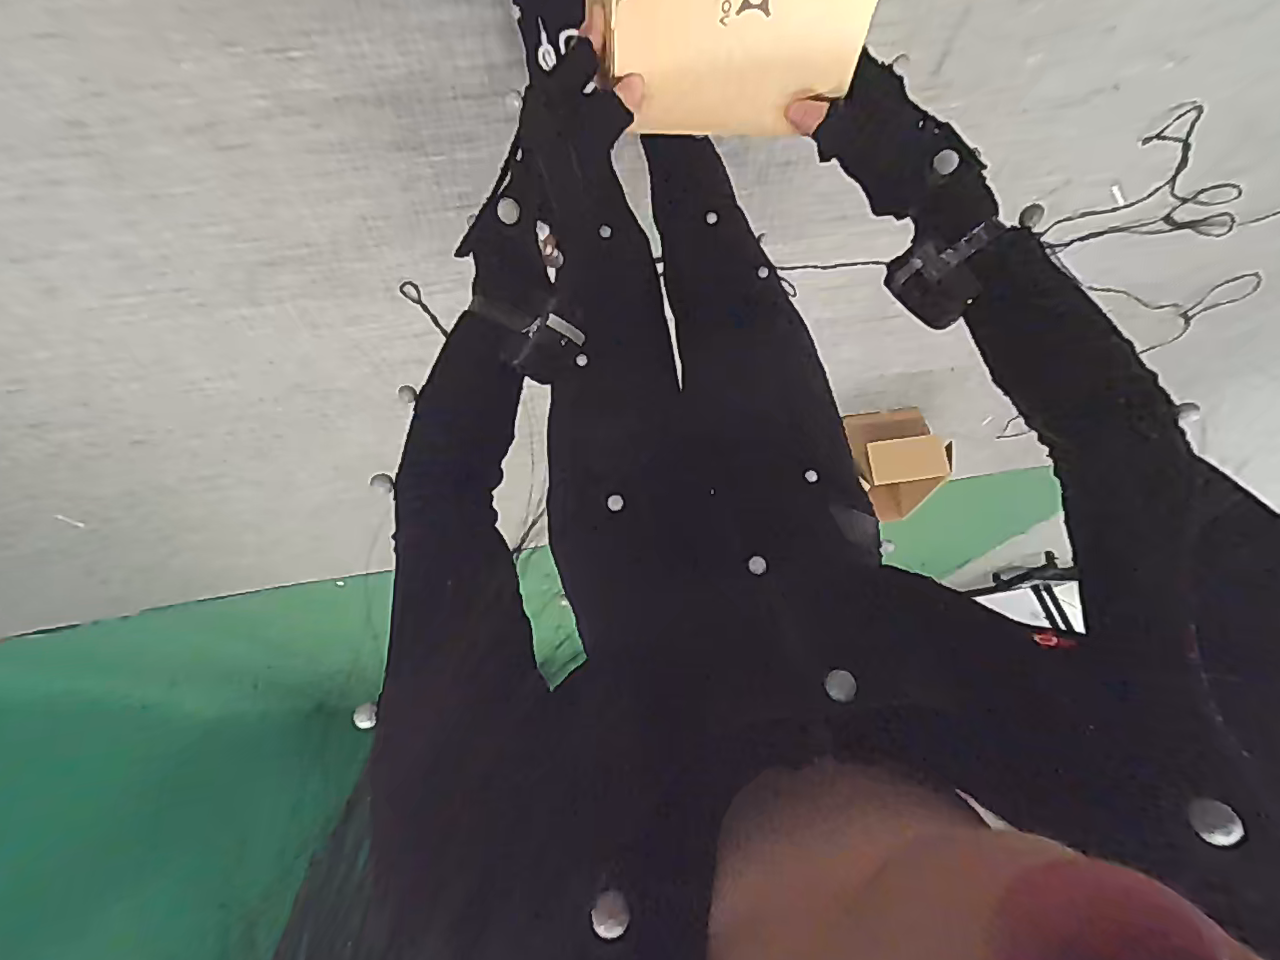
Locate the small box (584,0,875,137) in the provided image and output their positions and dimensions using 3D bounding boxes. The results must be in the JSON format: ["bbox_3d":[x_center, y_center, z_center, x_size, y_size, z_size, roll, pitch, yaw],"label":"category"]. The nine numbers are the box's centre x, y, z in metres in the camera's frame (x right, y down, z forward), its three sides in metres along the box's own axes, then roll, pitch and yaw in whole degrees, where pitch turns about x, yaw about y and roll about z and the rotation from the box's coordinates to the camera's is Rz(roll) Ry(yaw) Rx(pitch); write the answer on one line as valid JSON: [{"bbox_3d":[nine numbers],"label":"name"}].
[{"bbox_3d":[0.056,-0.371,0.379,0.179,0.176,0.168,-3,147,-9],"label":"small box"}]
